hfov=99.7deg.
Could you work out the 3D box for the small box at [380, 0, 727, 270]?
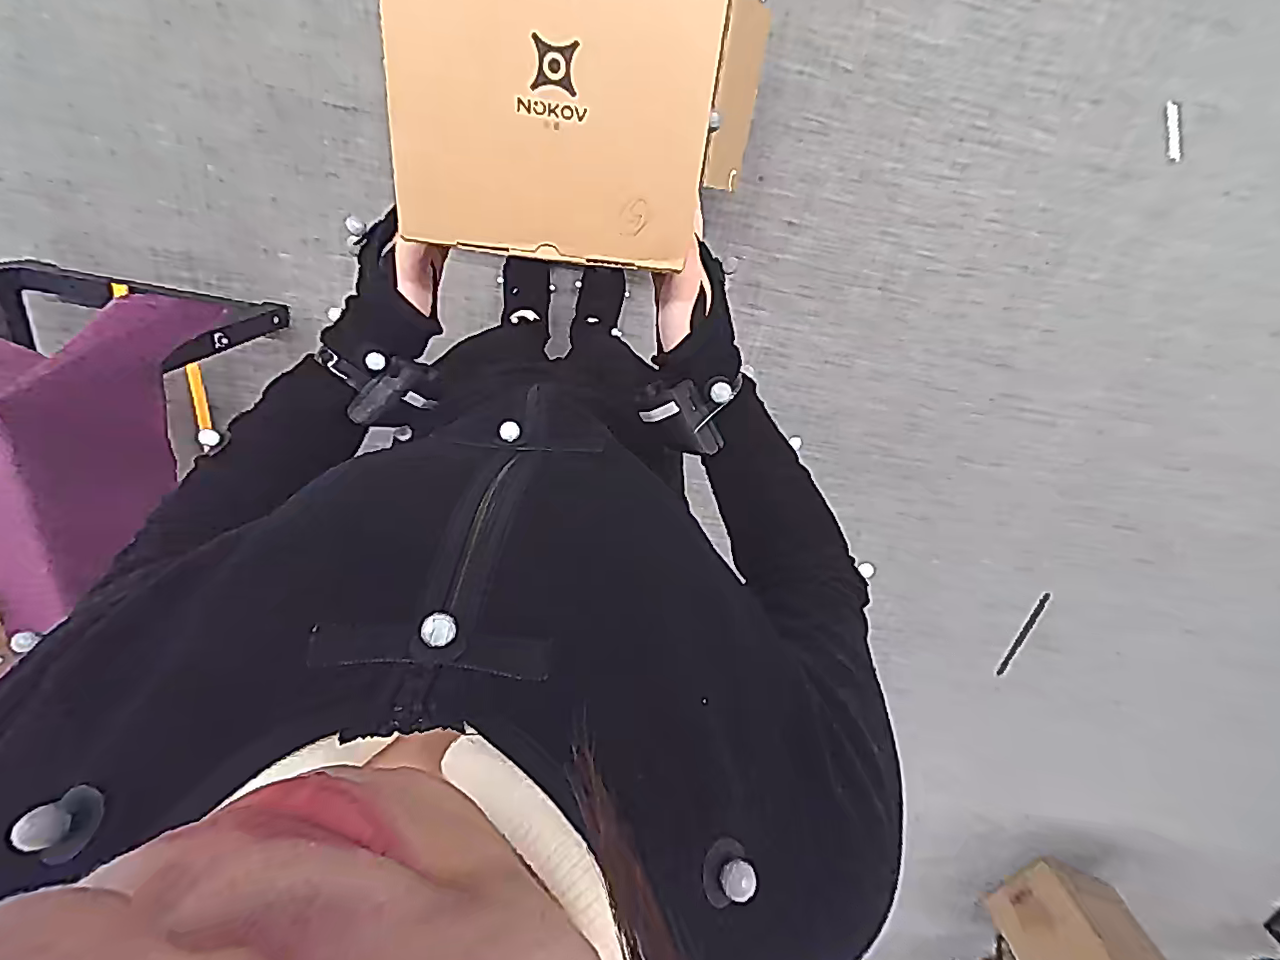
[{"bbox_3d":[-0.050,-0.247,0.340,0.168,0.176,0.179,4,120,-9],"label":"small box"}]
